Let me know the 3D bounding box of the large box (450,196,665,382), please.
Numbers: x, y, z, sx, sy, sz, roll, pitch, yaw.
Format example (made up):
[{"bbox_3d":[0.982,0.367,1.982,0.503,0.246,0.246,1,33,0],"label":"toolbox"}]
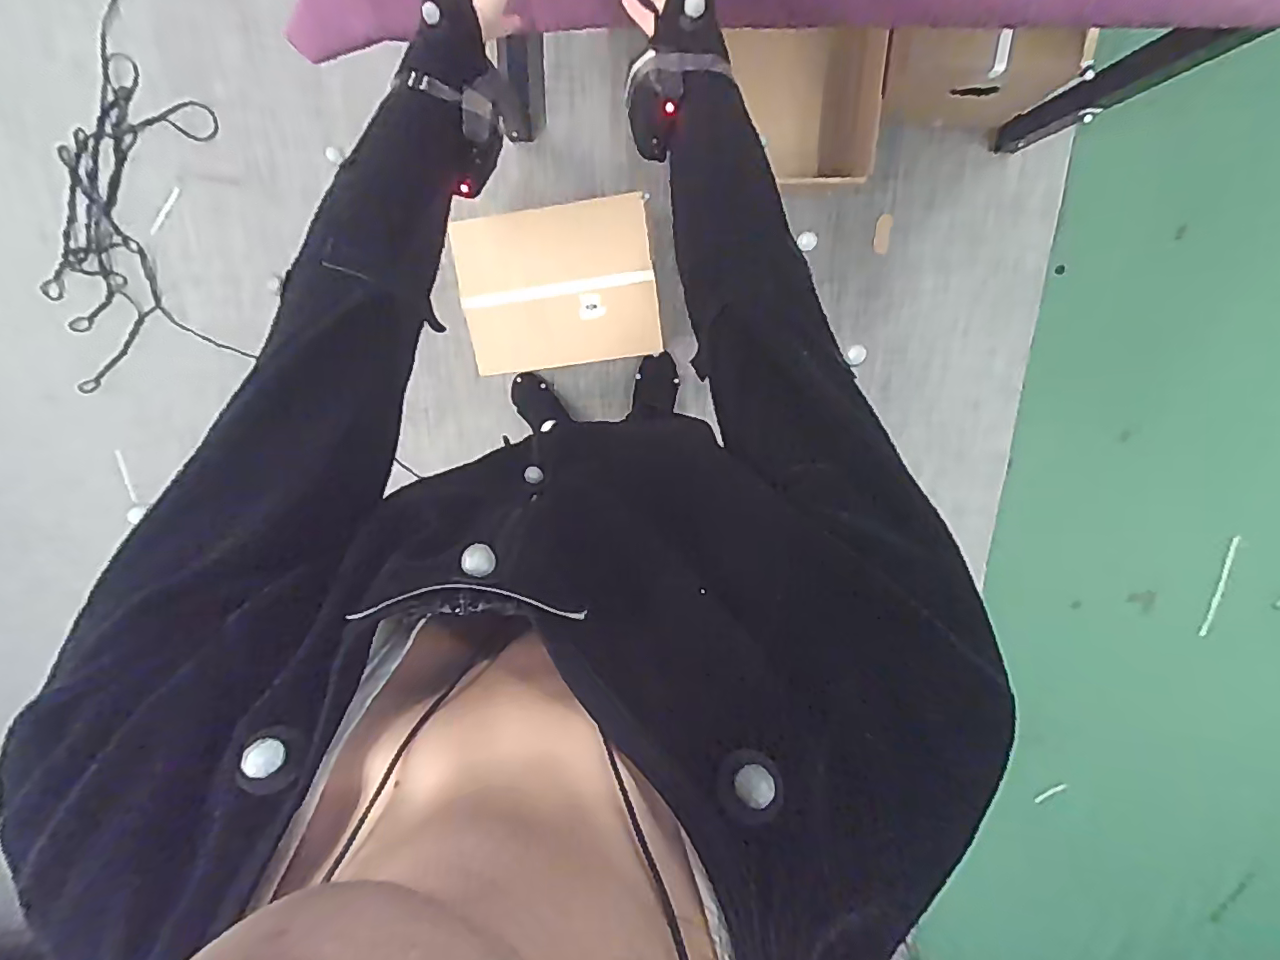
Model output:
[{"bbox_3d":[-0.161,-0.419,1.247,0.408,0.320,0.320,-7,105,4],"label":"large box"}]
